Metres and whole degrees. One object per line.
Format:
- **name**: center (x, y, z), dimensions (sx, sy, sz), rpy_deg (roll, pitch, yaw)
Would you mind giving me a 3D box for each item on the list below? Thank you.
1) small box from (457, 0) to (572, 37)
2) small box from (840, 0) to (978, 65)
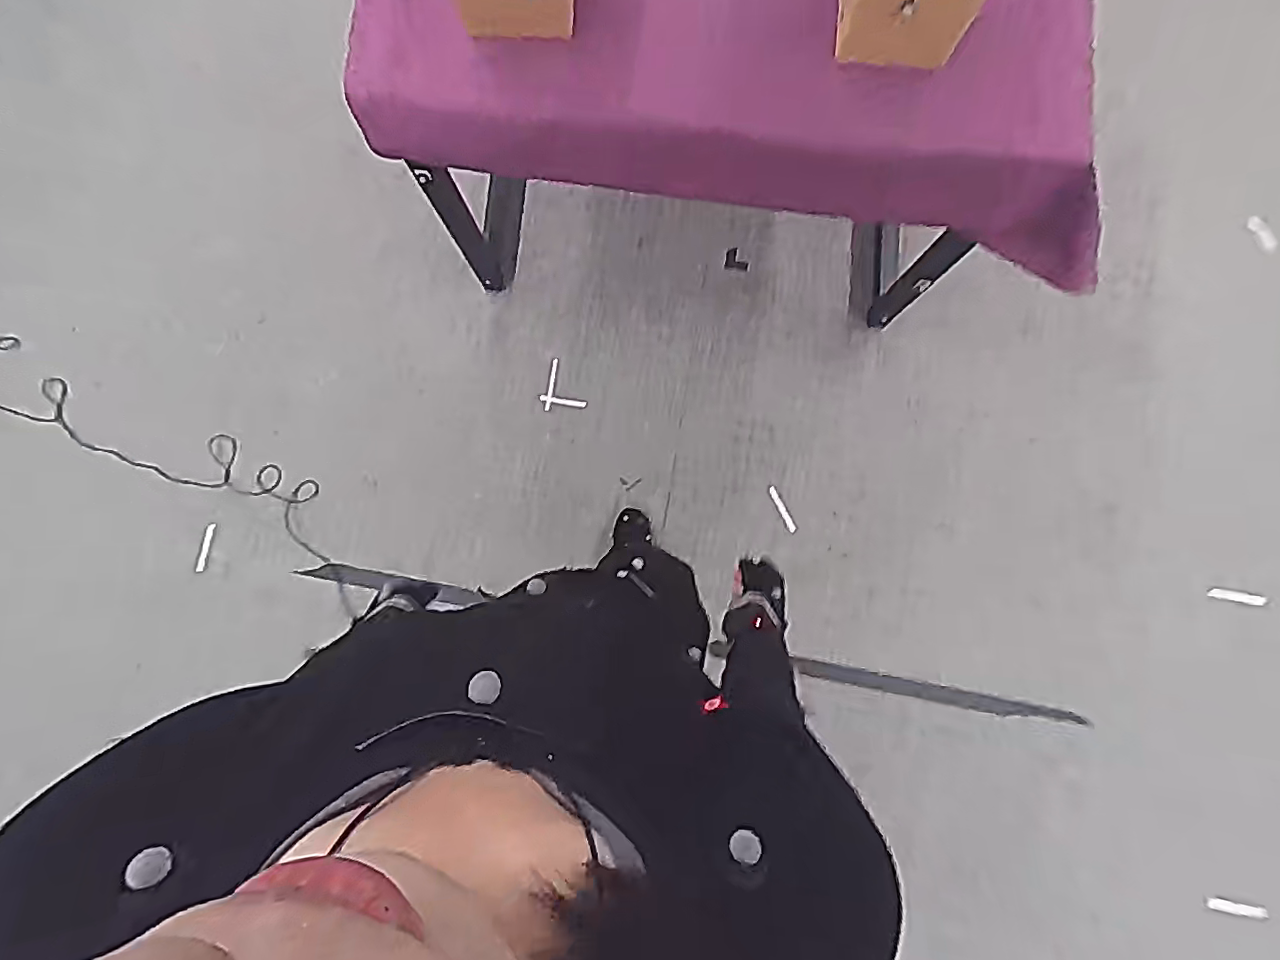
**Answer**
- **small box**: center (-0.195, -0.818, 0.820), dimensions (0.179, 0.176, 0.168), rpy_deg (1, 82, 1)
- **small box**: center (0.413, -0.766, 0.810), dimensions (0.179, 0.176, 0.168), rpy_deg (5, 83, 2)
